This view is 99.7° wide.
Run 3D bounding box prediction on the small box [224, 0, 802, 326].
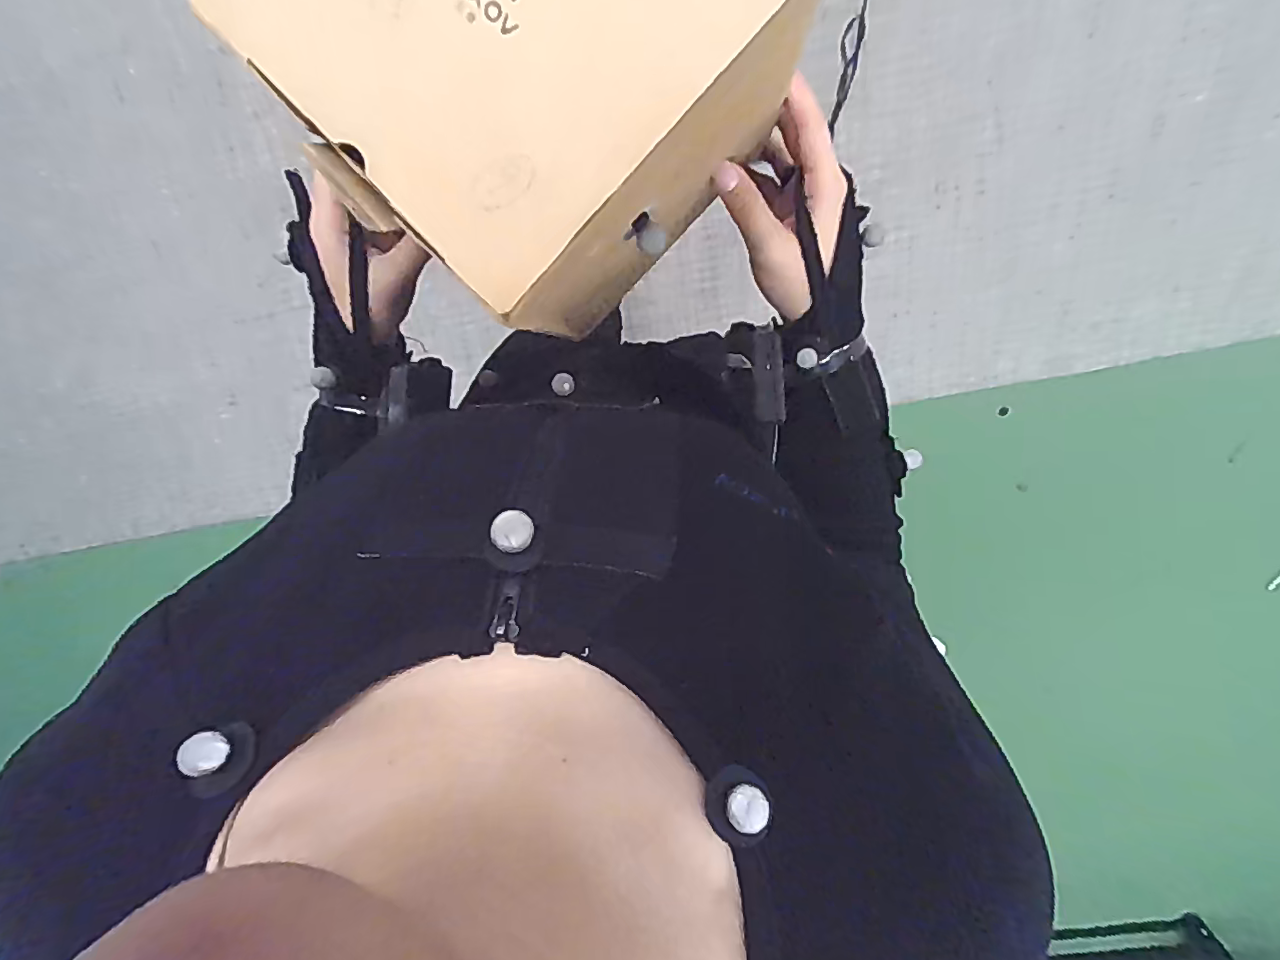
[{"bbox_3d":[-0.043,-0.199,0.281,0.179,0.176,0.168,-44,96,12],"label":"small box"}]
